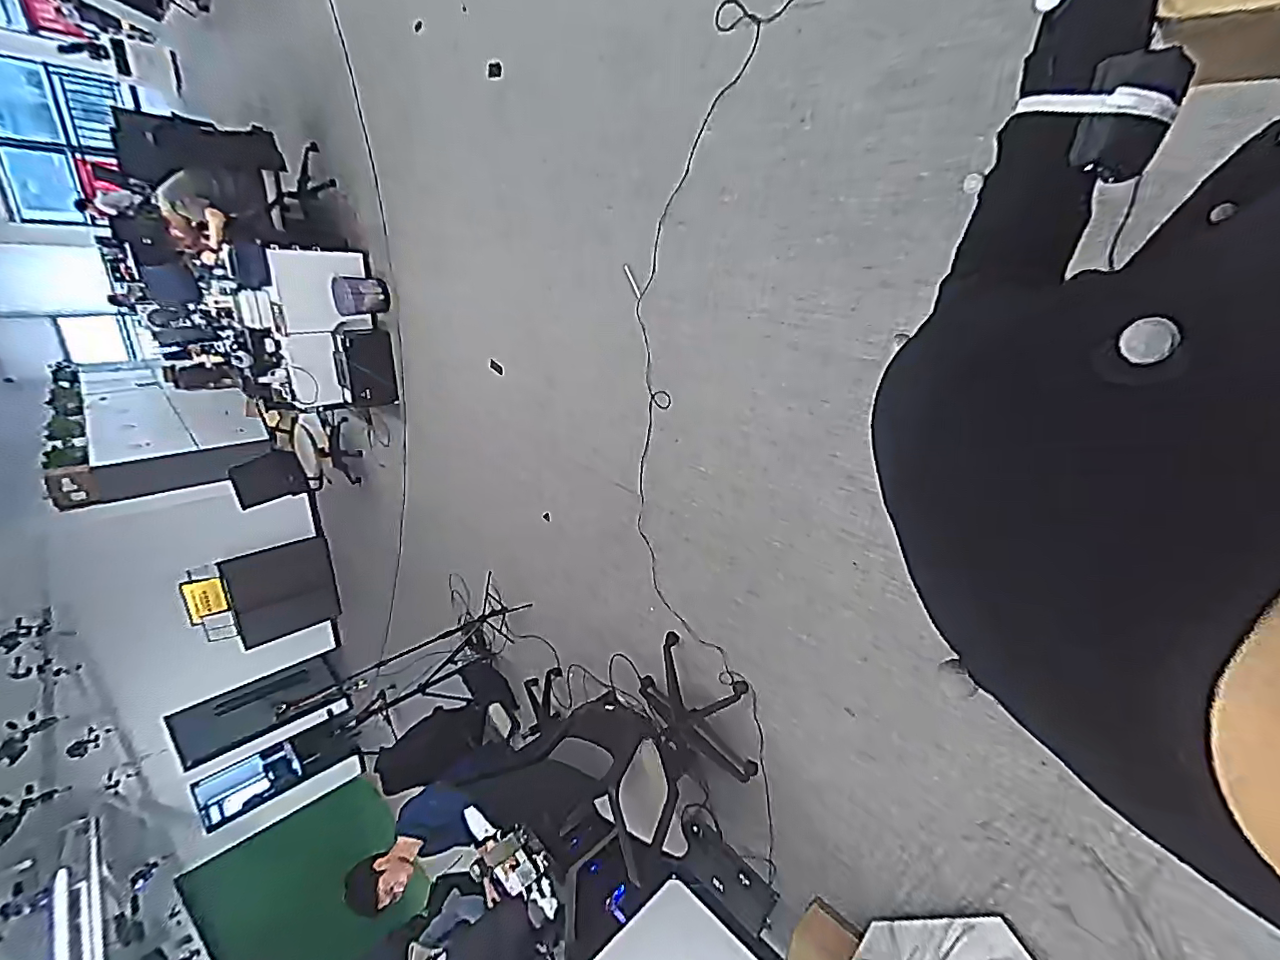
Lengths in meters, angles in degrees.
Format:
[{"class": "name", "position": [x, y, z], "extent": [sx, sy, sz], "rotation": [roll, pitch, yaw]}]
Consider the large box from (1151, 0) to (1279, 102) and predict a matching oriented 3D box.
[{"class": "large box", "position": [0.568, -0.401, 0.255], "extent": [0.408, 0.320, 0.320], "rotation": [24, 126, 36]}]
